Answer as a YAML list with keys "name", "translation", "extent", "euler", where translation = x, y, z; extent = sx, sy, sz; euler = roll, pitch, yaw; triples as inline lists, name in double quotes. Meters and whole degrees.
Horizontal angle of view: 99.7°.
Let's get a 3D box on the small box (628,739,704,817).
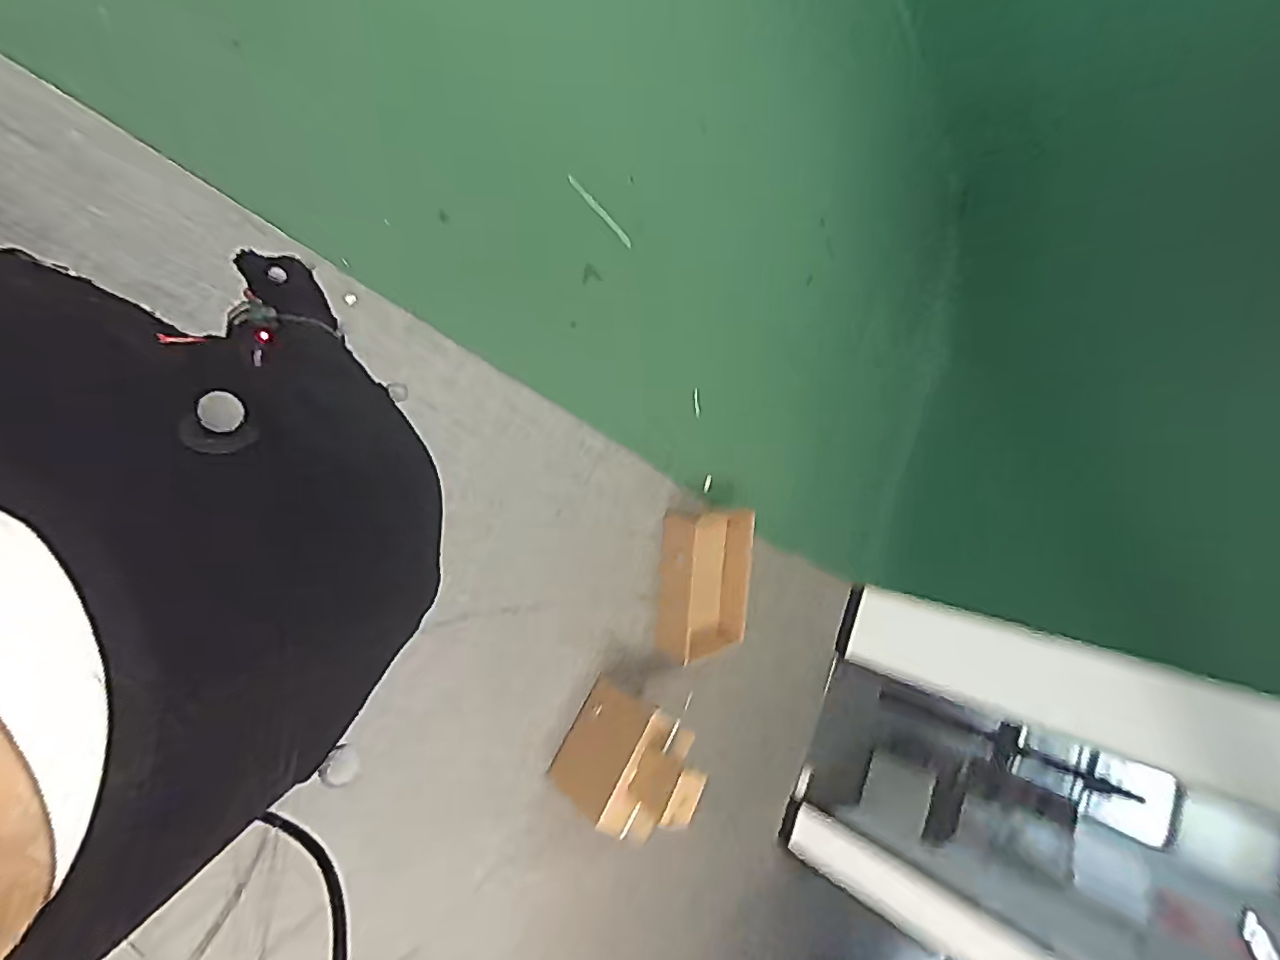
- name: "small box"
  translation: [0.087, 1.023, 1.863]
  extent: [0.168, 0.176, 0.179]
  euler: [39, 70, -41]
